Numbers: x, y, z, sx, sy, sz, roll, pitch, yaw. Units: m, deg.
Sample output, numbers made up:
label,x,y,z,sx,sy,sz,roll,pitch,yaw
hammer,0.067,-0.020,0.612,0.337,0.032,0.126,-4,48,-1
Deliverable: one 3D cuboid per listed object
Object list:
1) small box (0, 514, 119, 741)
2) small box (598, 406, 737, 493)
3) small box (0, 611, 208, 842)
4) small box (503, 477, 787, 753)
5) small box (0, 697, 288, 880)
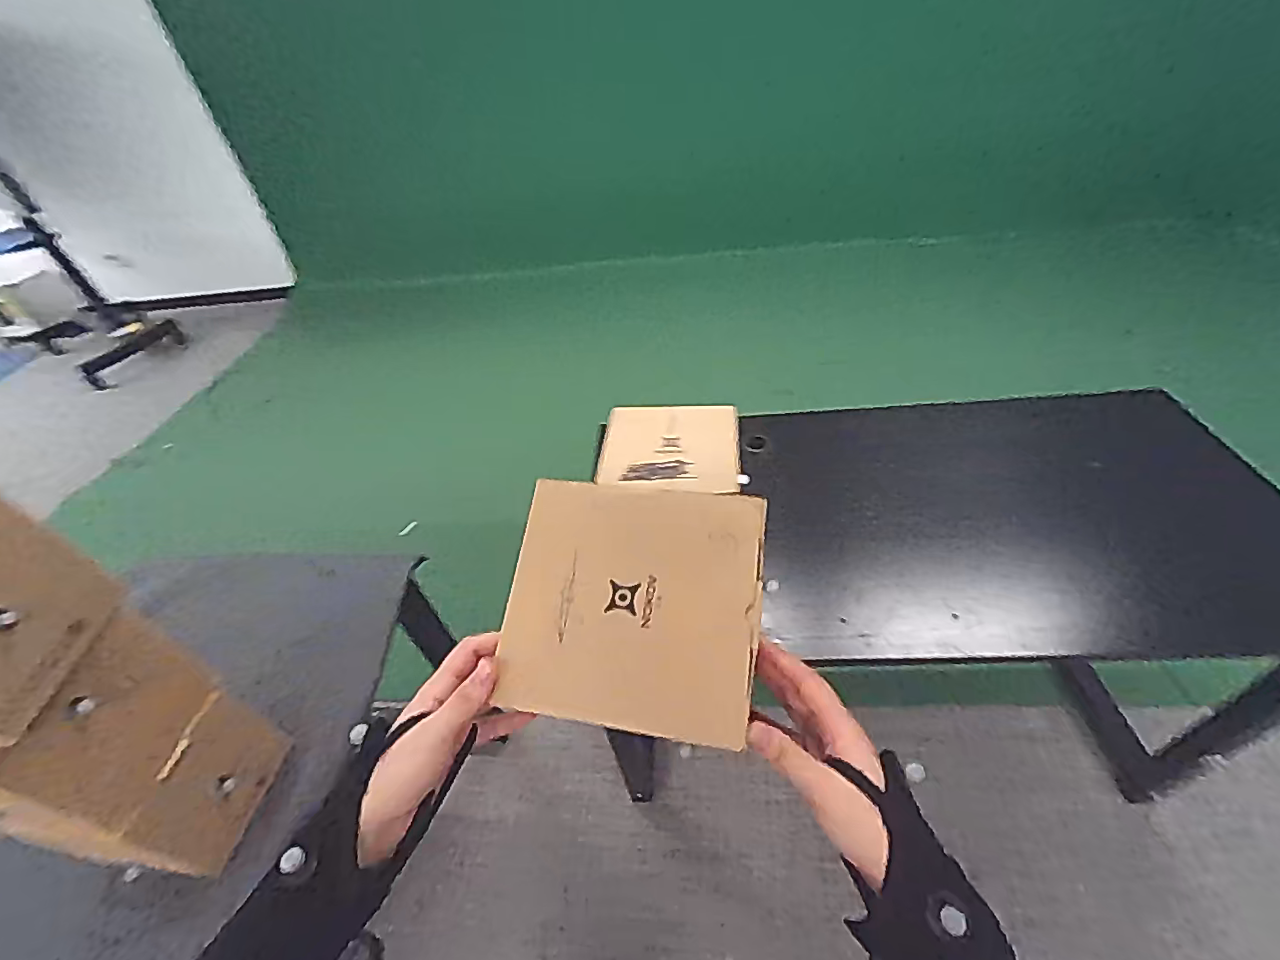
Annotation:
label,x,y,z,sx,sy,sz,roll,pitch,yaw
small box,-0.636,0.135,0.470,0.179,0.176,0.168,-9,43,3
small box,0.044,0.021,0.717,0.168,0.176,0.179,0,43,8
small box,-0.622,0.260,0.578,0.168,0.176,0.179,-3,44,9
small box,0.020,0.110,0.439,0.179,0.176,0.168,4,68,14
small box,-0.600,0.384,0.682,0.179,0.176,0.168,-1,44,9
